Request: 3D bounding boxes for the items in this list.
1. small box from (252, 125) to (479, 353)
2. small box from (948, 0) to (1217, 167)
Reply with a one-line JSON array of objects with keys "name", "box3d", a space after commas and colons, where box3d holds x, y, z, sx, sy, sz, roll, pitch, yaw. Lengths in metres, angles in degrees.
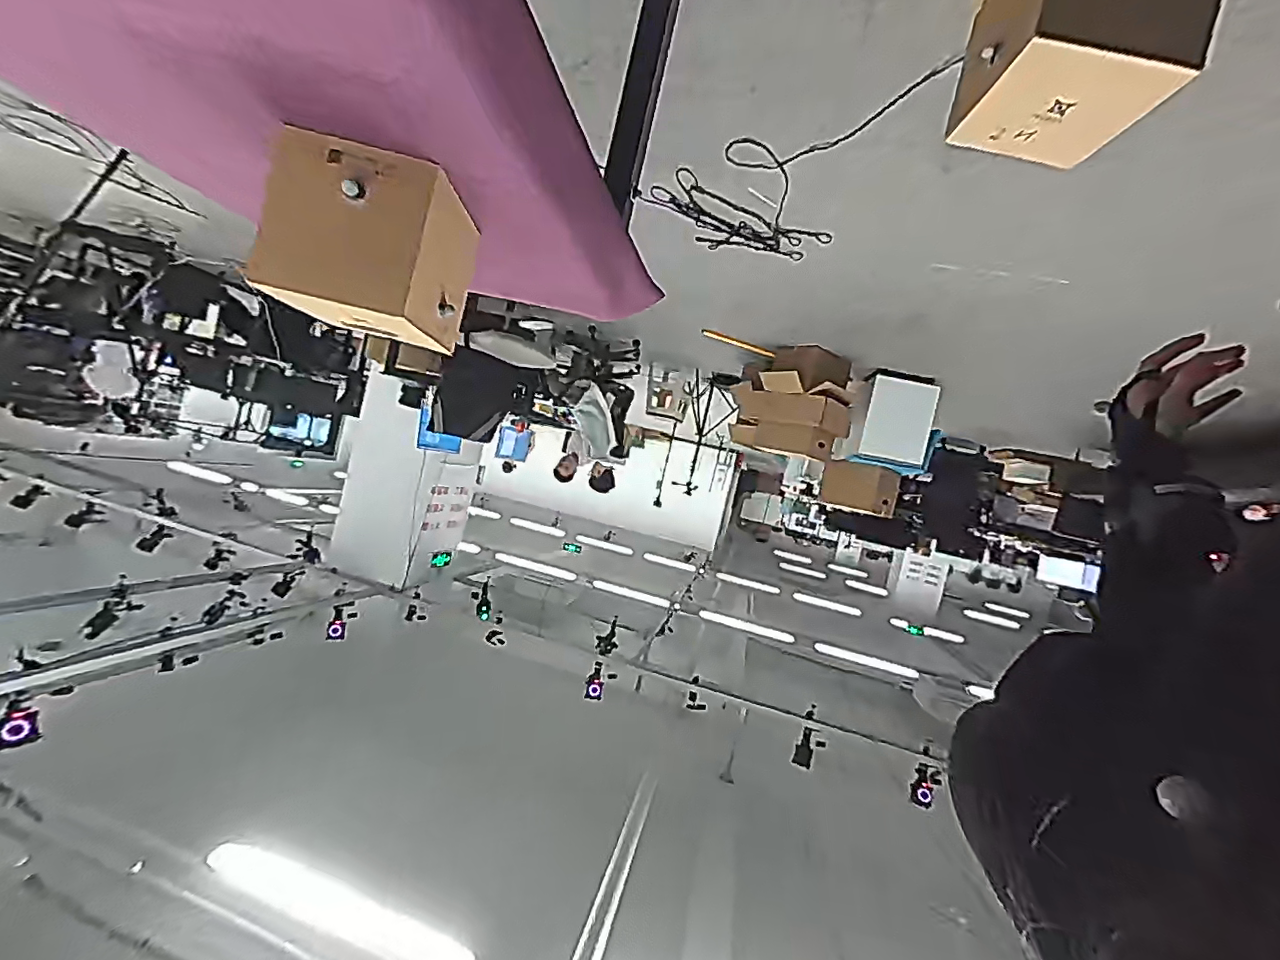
[{"name": "small box", "box3d": [-0.302, -0.267, 0.635, 0.168, 0.176, 0.179, 13, 180, -3]}, {"name": "small box", "box3d": [0.488, -0.496, 0.606, 0.168, 0.176, 0.179, 14, -178, 2]}]
